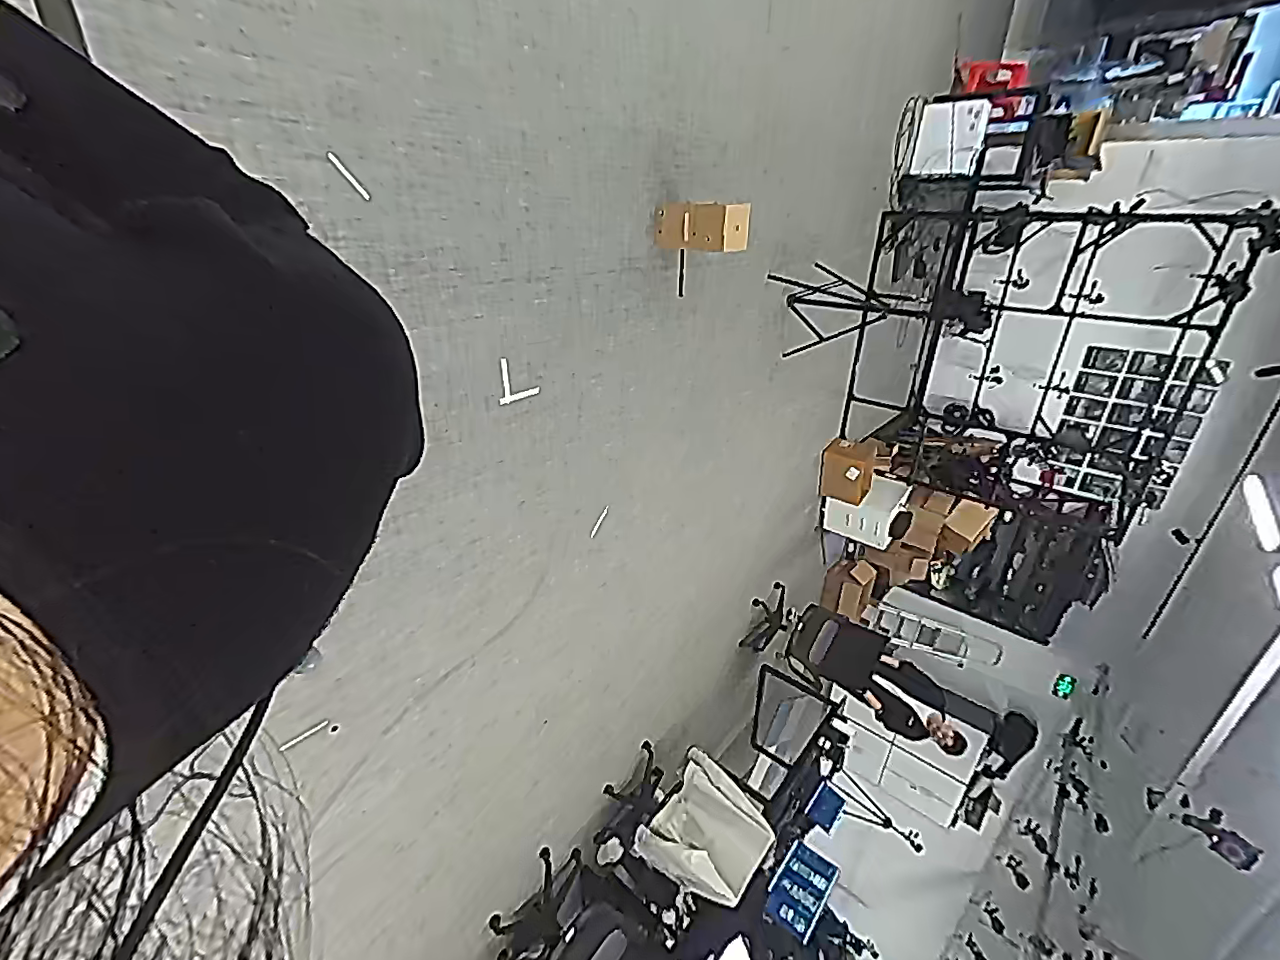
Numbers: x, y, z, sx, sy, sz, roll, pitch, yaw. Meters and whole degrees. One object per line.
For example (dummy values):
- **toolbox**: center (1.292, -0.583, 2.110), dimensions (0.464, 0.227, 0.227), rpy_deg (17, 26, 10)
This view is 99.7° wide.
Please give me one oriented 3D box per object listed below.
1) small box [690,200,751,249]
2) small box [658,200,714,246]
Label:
- **small box**: center (0.310, -0.994, 2.104), dimensions (0.179, 0.176, 0.168), rpy_deg (-30, 130, -42)
- **small box**: center (0.187, -1.045, 2.197), dimensions (0.179, 0.176, 0.168), rpy_deg (-29, 129, -42)
